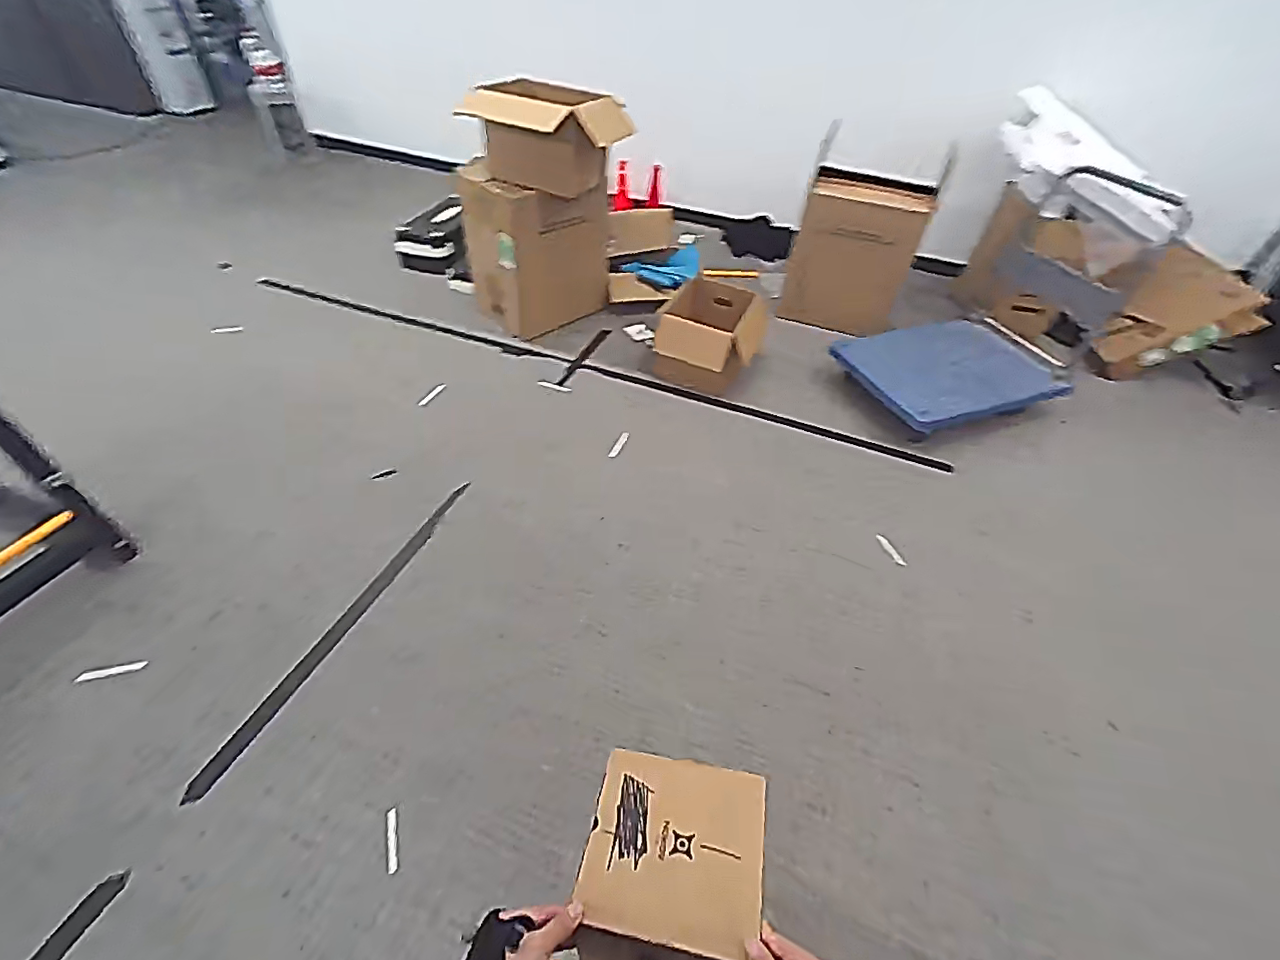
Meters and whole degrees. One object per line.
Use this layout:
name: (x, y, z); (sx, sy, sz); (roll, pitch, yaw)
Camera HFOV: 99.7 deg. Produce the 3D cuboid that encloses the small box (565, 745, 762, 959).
small box: (0.036, 0.422, 0.582); (0.179, 0.176, 0.168); (5, 35, 11)
